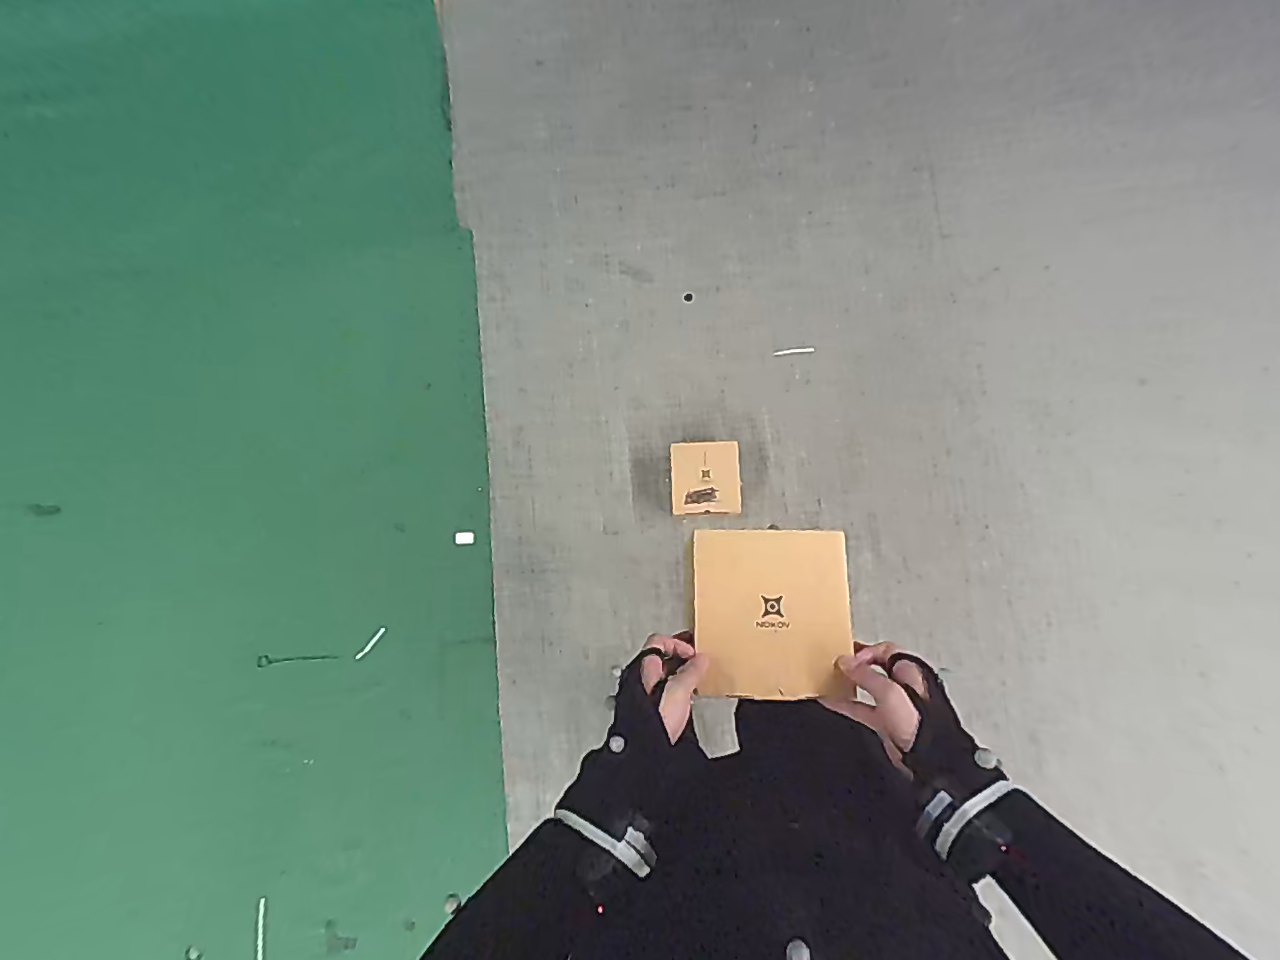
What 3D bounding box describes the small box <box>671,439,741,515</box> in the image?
[{"bbox_3d":[0.164,-0.002,1.379,0.168,0.176,0.179,-1,82,2],"label":"small box"}]
